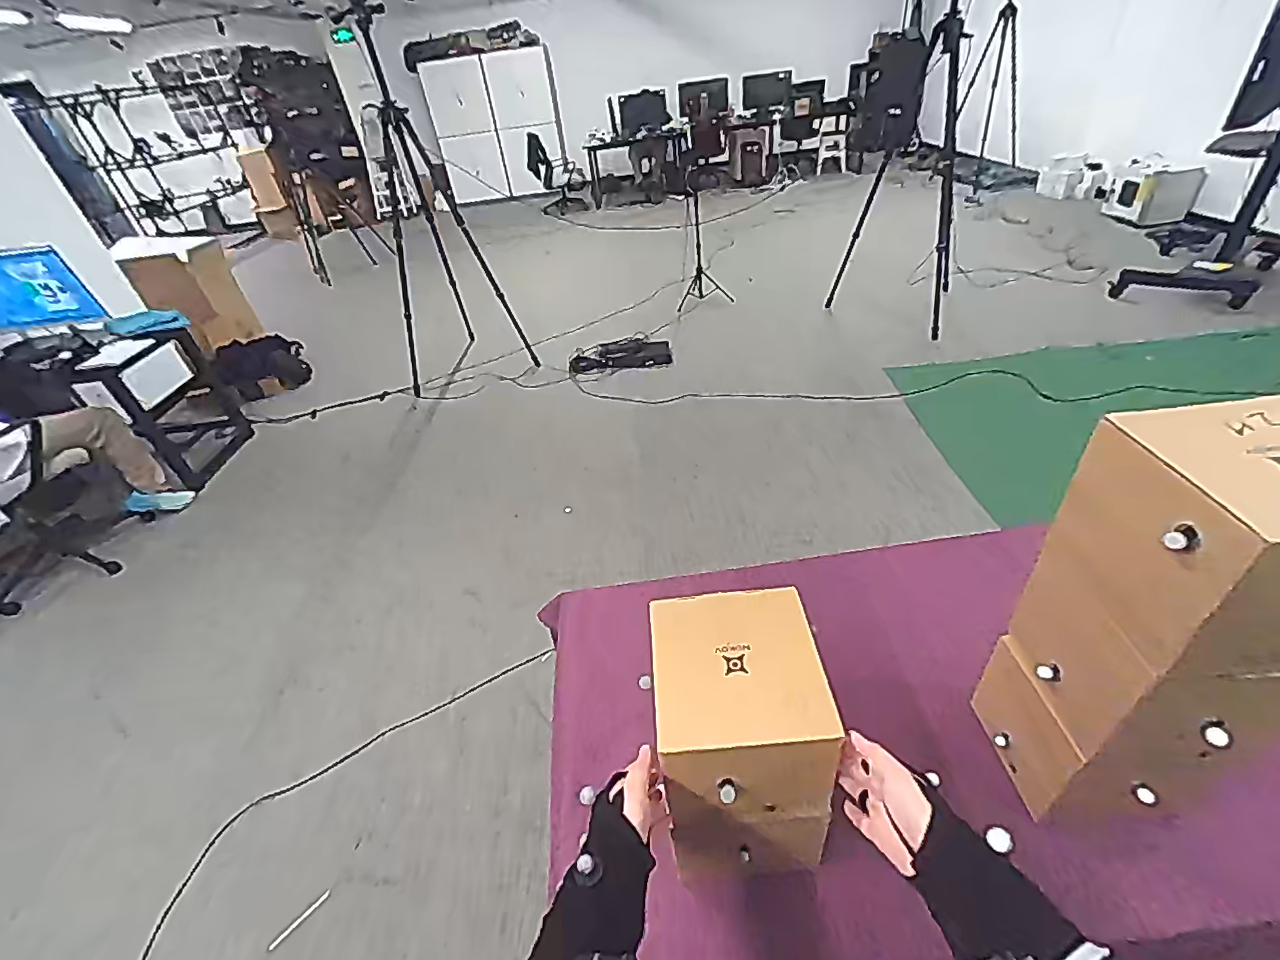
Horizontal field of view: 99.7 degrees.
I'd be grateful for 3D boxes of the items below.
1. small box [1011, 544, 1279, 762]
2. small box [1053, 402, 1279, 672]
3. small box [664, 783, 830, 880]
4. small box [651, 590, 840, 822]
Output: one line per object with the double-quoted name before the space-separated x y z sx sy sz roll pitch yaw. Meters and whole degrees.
"small box" 0.544 0.183 0.580 0.168 0.176 0.179 -4 38 6
"small box" 0.521 0.053 0.479 0.168 0.176 0.179 -5 37 5
"small box" 0.121 0.377 0.682 0.179 0.176 0.168 -8 37 3
"small box" 0.105 0.247 0.587 0.168 0.176 0.179 -7 36 3
